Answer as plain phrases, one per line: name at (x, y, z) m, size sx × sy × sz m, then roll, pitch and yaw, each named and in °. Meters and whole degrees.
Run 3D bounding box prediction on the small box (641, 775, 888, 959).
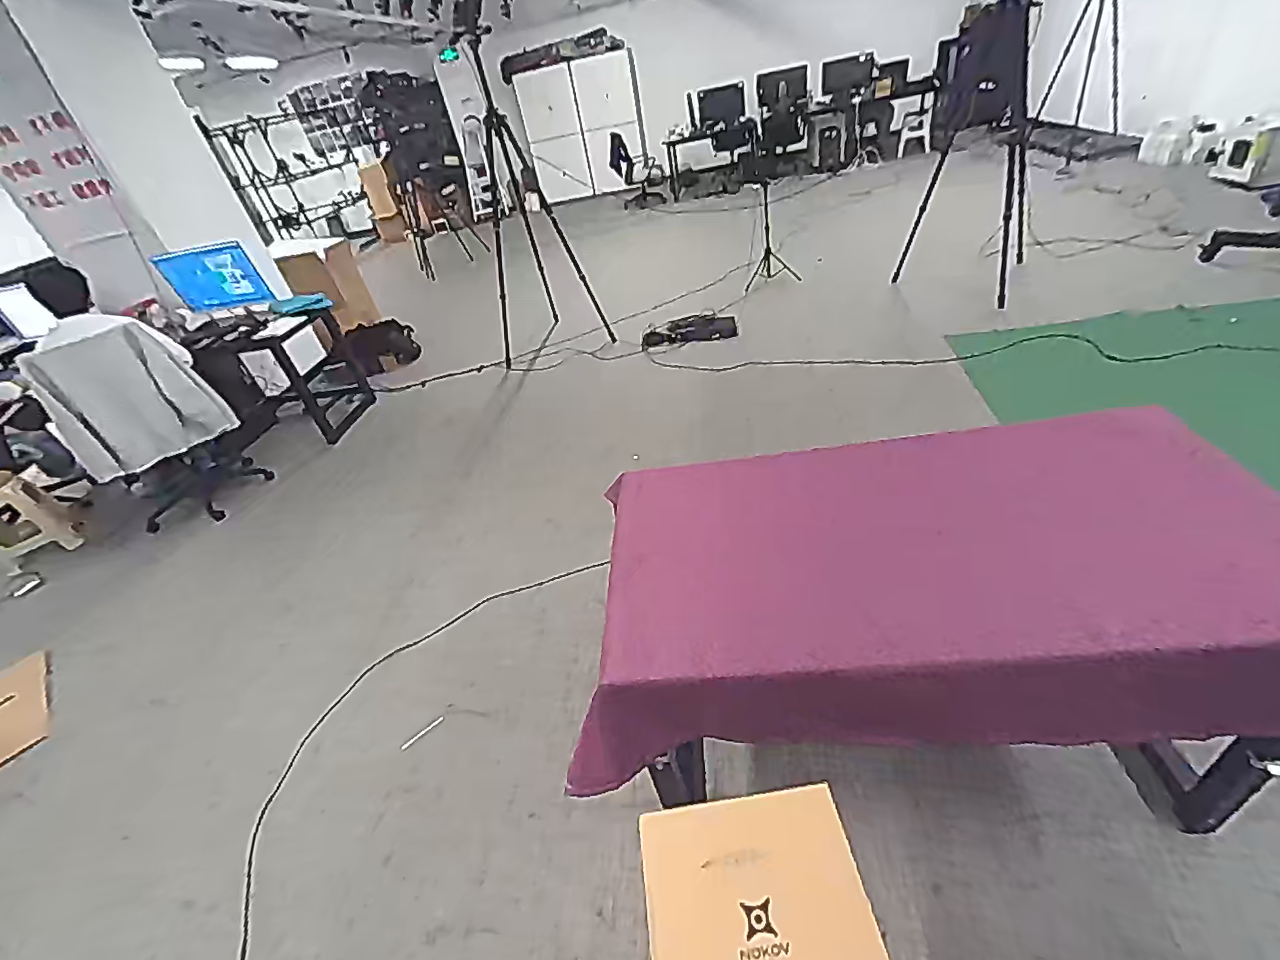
small box at (0.099, 0.381, 0.450) m, size 0.168 × 0.176 × 0.179 m, roll -9°, pitch 38°, yaw 0°
